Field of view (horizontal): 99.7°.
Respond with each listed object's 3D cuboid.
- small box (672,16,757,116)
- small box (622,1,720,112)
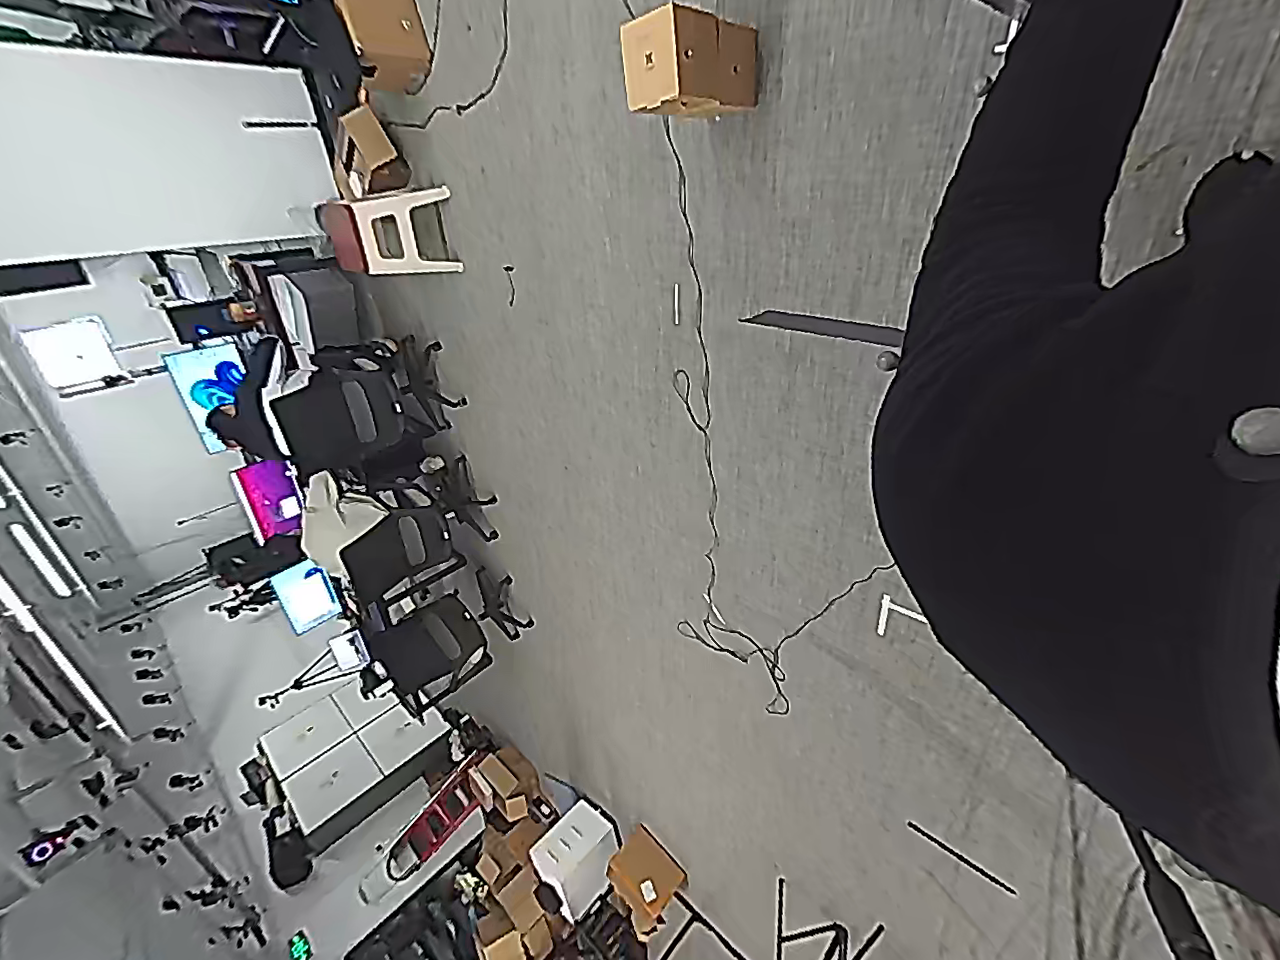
[{"bbox_3d":[0.194,-1.072,1.416,0.168,0.176,0.179,19,127,40],"label":"small box"},{"bbox_3d":[0.081,-1.015,1.314,0.168,0.176,0.179,15,122,41],"label":"small box"}]
